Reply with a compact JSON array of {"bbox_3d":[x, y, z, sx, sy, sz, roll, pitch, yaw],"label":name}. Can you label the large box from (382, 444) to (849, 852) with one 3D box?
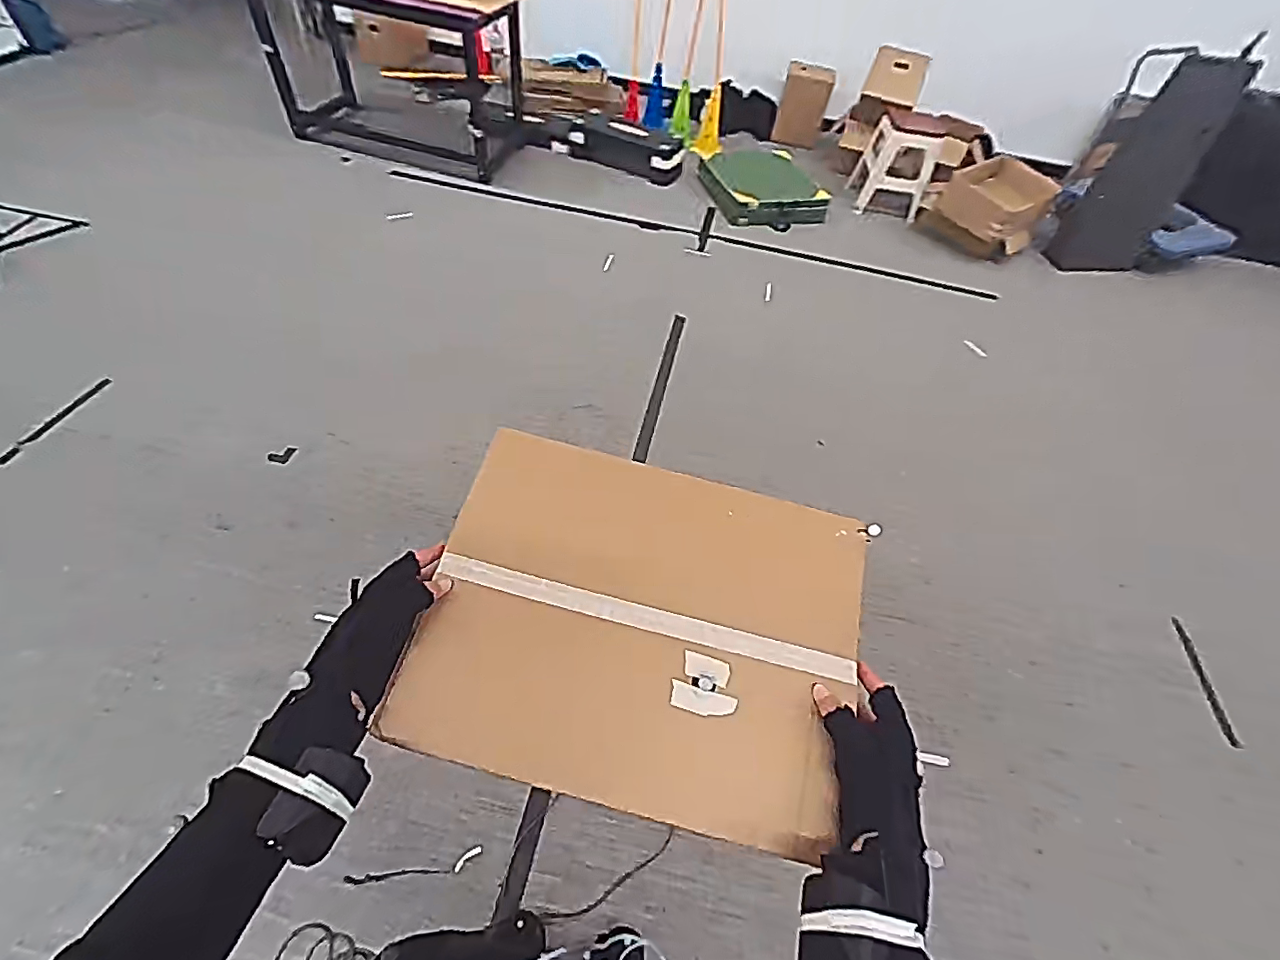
[{"bbox_3d":[-0.013,0.200,0.658,0.408,0.320,0.320,14,65,2],"label":"large box"}]
